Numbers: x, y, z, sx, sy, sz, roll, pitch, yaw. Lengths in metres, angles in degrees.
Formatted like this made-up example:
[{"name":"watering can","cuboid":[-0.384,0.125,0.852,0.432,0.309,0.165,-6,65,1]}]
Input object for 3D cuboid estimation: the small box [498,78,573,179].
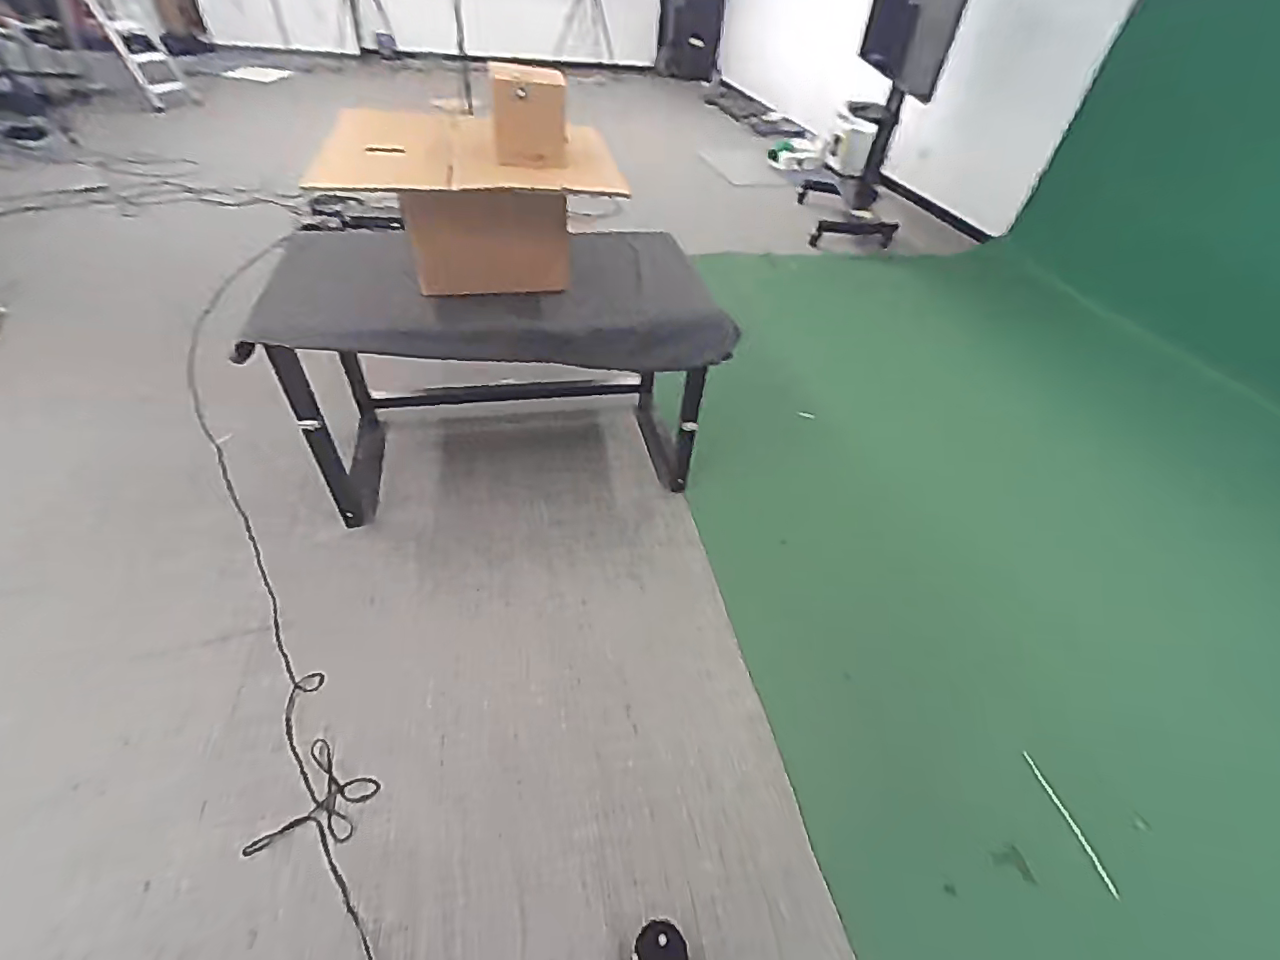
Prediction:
[{"name":"small box","cuboid":[-0.255,-0.848,1.308,0.168,0.176,0.179,-4,44,-12]}]
